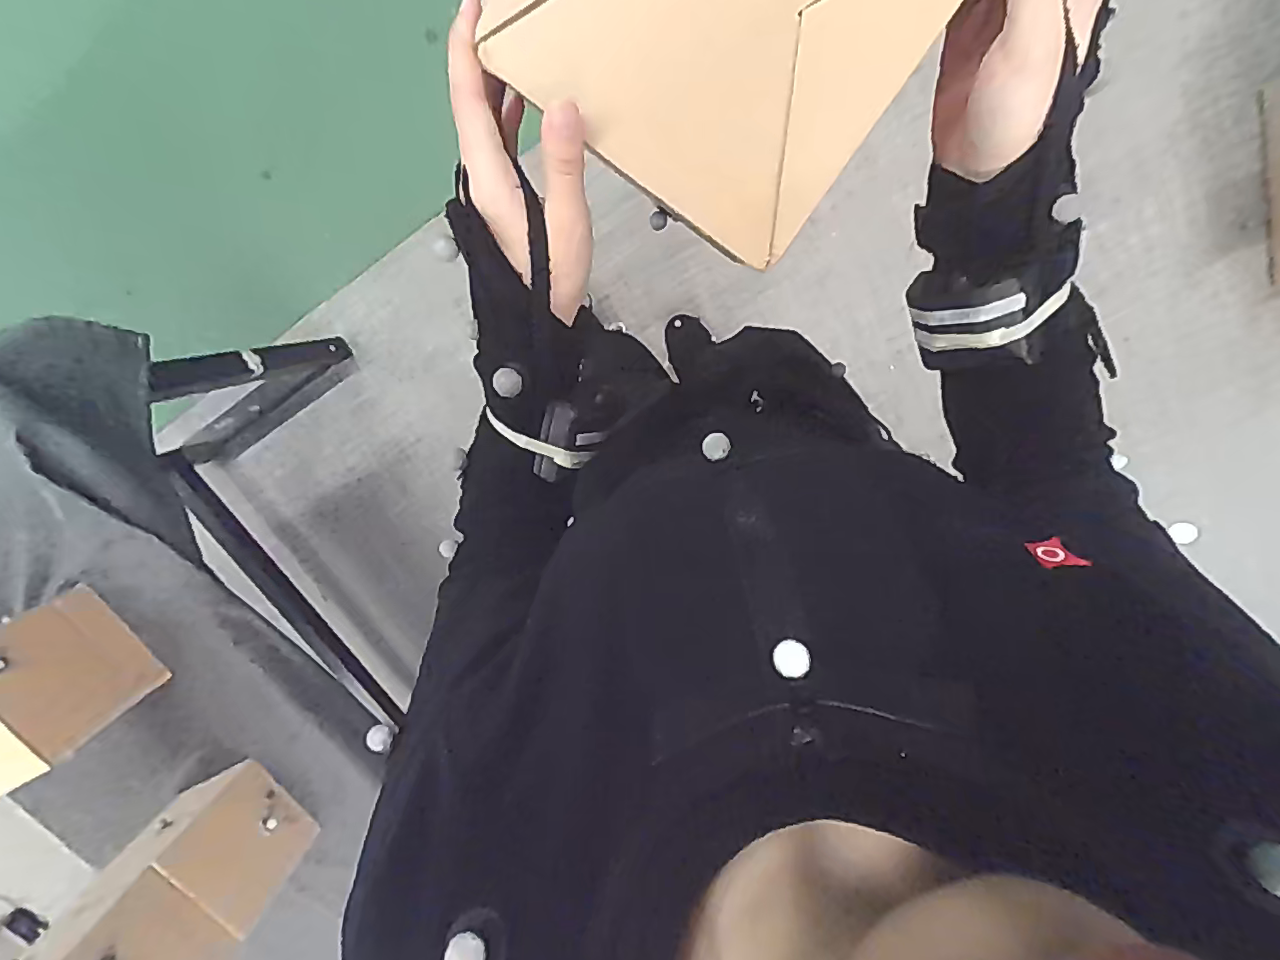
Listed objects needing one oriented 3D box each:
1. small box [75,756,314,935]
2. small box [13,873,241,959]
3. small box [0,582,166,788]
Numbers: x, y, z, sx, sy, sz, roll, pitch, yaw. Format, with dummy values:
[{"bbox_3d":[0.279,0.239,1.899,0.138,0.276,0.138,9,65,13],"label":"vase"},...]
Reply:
[{"bbox_3d":[-0.635,0.550,0.795,0.179,0.176,0.168,-29,104,13],"label":"small box"},{"bbox_3d":[-0.645,0.608,0.643,0.168,0.176,0.179,-30,105,15],"label":"small box"},{"bbox_3d":[-0.800,0.268,0.714,0.168,0.176,0.179,-27,104,14],"label":"small box"}]
